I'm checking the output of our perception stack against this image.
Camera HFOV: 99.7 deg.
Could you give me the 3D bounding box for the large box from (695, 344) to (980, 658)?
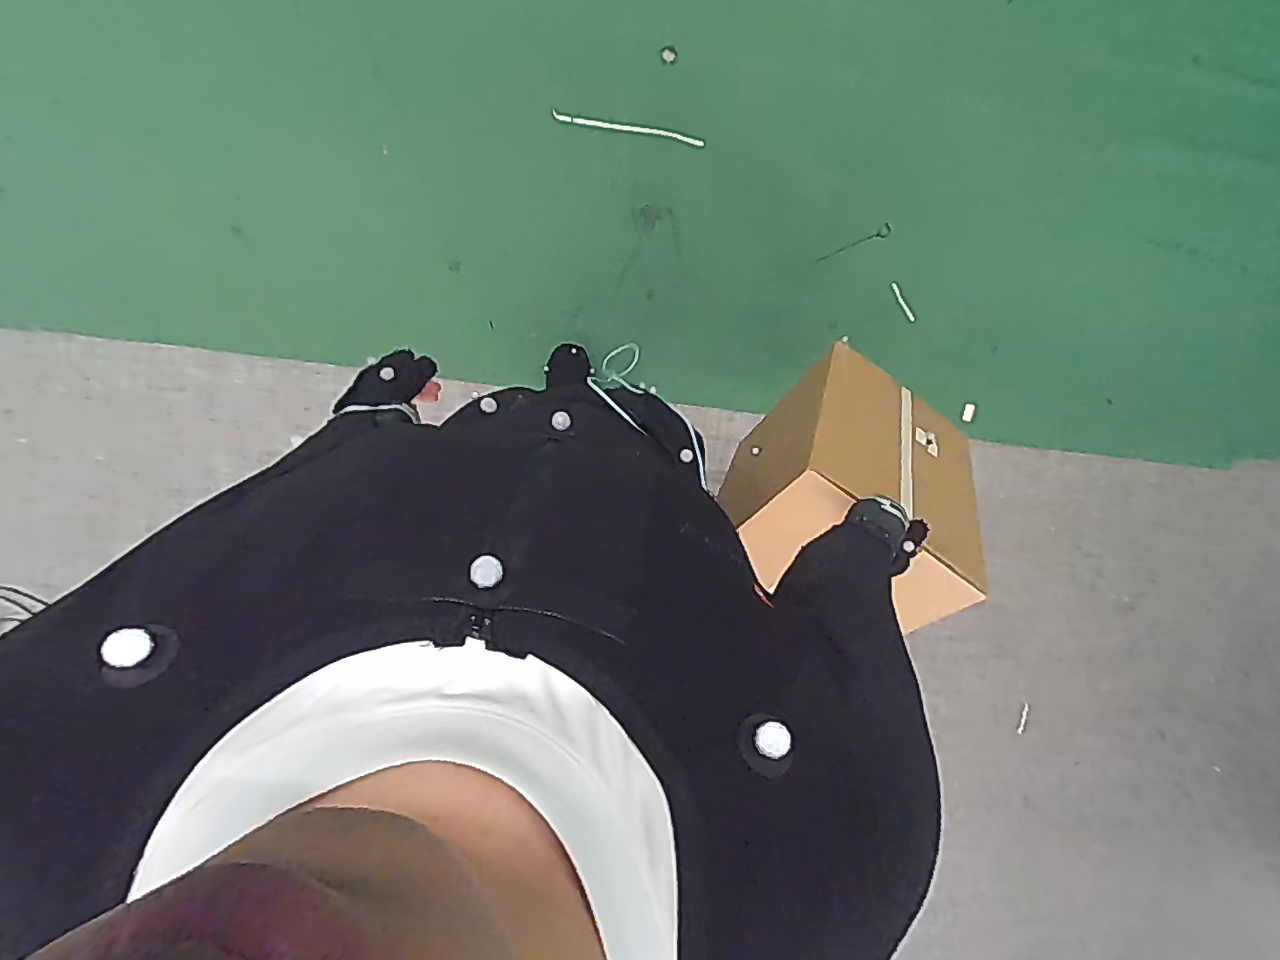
[{"bbox_3d":[0.346,0.034,0.979,0.320,0.408,0.320,36,134,-5],"label":"large box"}]
